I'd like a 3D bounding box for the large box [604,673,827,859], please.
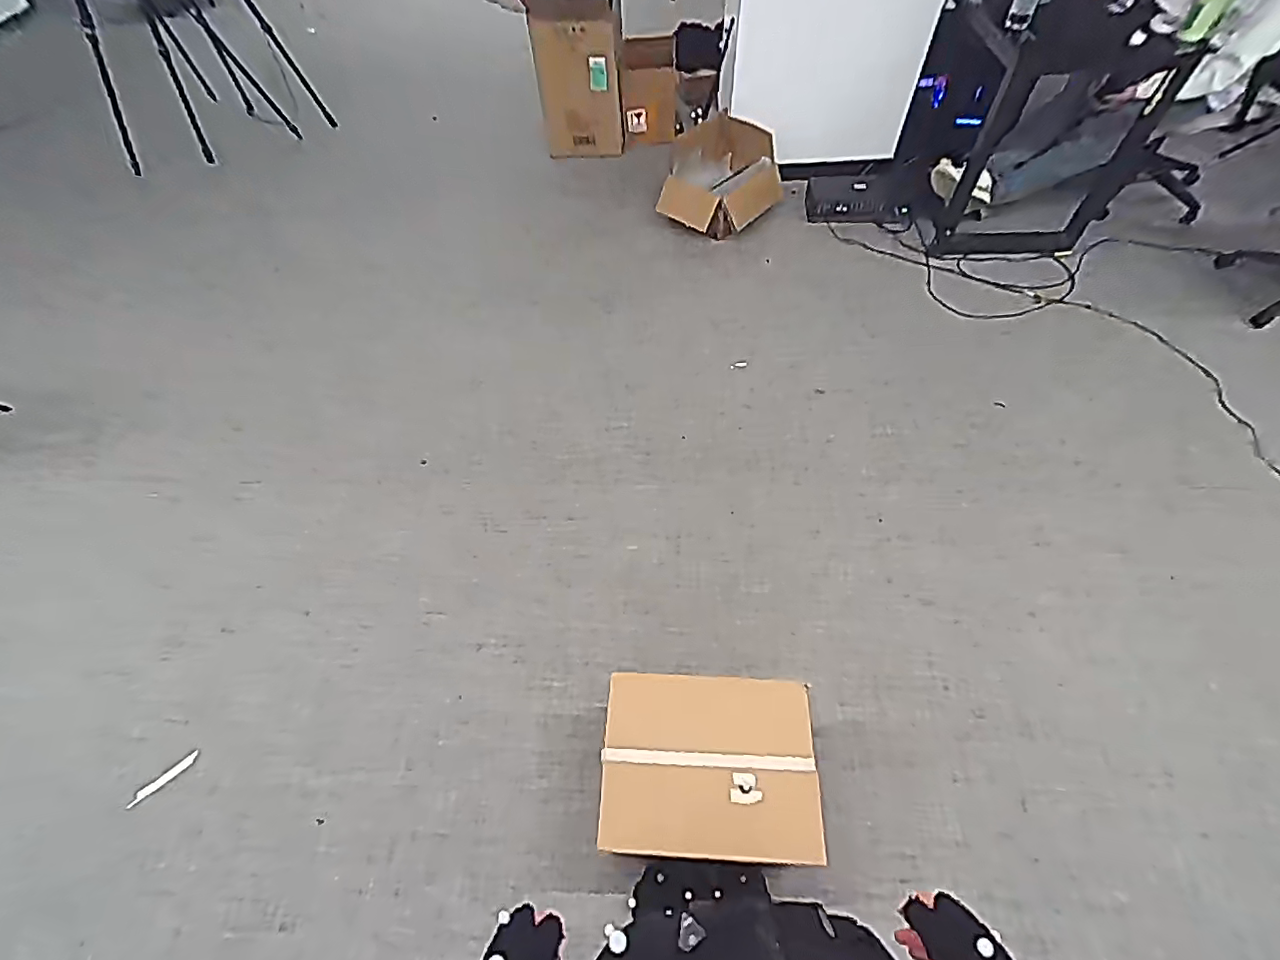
[{"bbox_3d":[0.140,0.620,1.163,0.408,0.320,0.320,1,56,3],"label":"large box"}]
